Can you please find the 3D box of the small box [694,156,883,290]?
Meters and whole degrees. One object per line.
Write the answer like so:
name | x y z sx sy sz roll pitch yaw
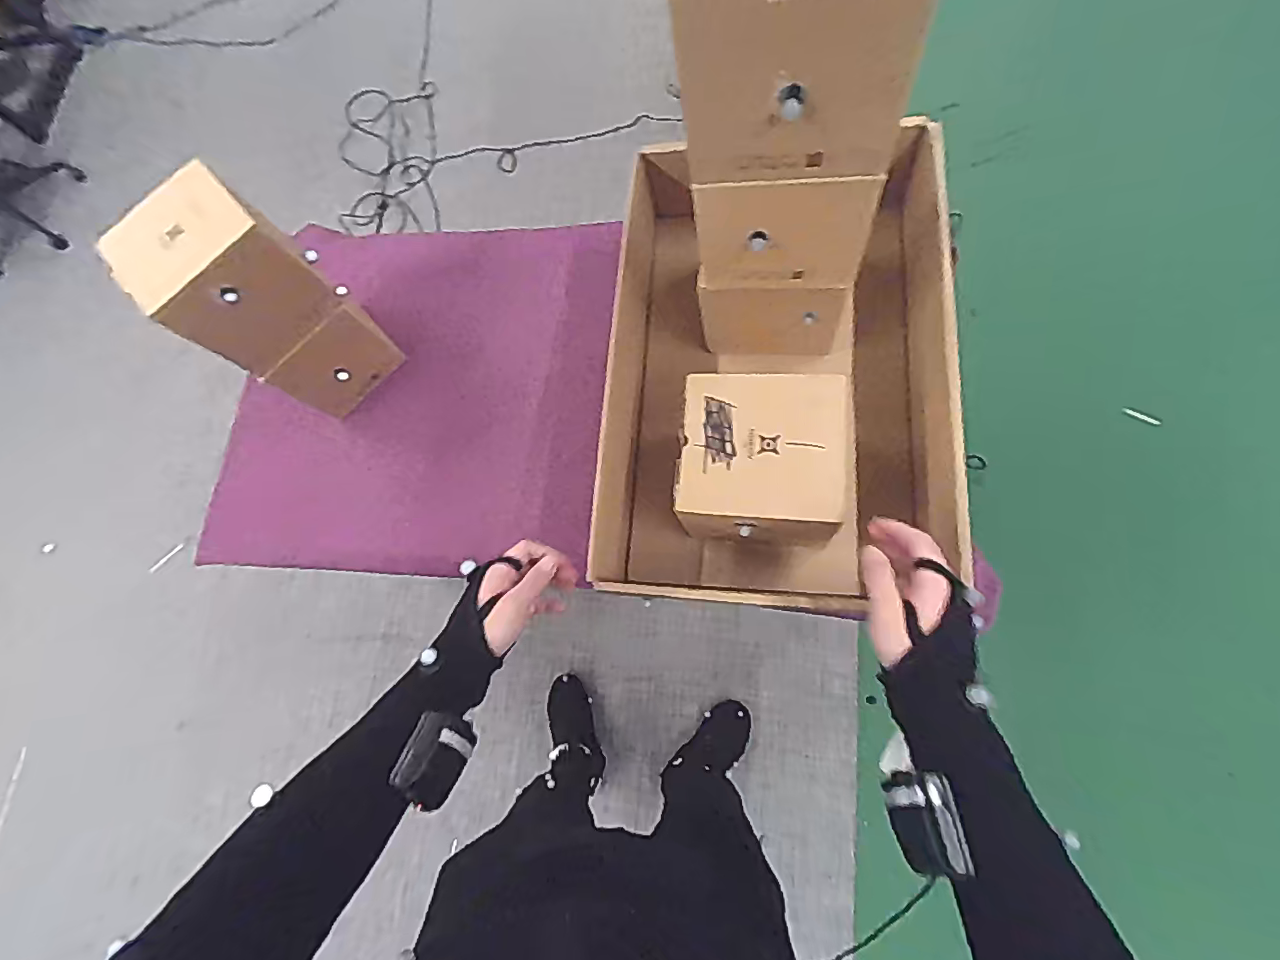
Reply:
small box | 0.155 -0.318 0.569 0.168 0.176 0.179 4 76 13

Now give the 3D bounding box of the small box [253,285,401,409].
small box | -0.542 -0.241 0.904 0.168 0.176 0.179 -43 72 -4

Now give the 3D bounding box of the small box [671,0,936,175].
small box | 0.125 -0.361 0.413 0.168 0.176 0.179 4 77 12

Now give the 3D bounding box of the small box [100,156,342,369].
small box | -0.565 -0.288 0.749 0.179 0.176 0.168 -43 73 -3
